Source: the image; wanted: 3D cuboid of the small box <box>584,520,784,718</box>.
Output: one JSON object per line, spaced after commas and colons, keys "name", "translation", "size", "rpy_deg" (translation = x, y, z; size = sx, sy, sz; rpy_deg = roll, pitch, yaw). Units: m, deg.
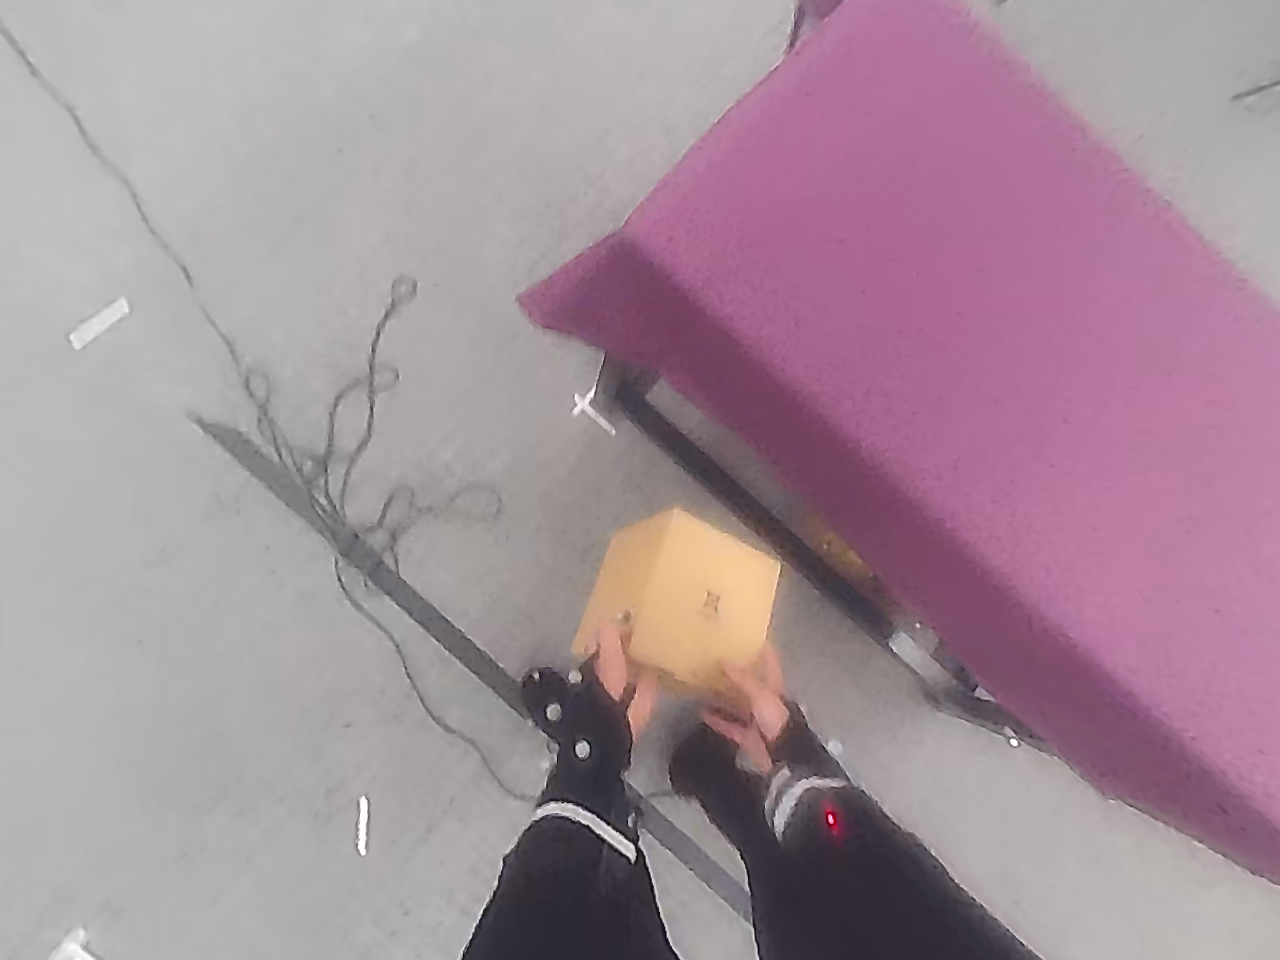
{"name": "small box", "translation": [0.049, 0.174, 0.676], "size": [0.168, 0.176, 0.179], "rpy_deg": [27, 64, -17]}
